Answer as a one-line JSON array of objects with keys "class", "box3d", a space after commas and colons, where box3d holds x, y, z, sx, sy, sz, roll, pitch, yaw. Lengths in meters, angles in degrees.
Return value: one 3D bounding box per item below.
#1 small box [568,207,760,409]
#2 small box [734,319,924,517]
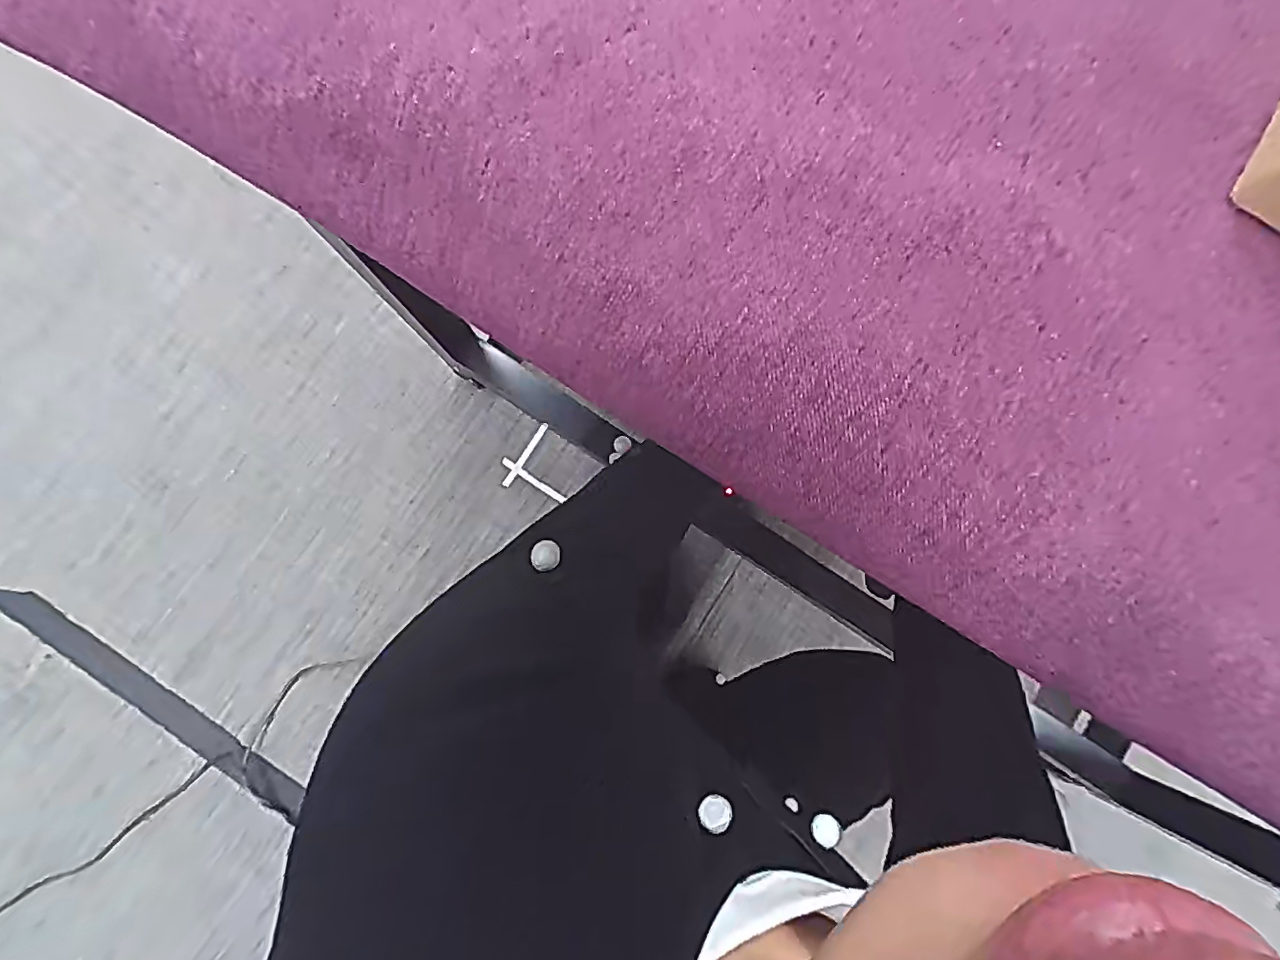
[{"class": "small box", "box3d": [0.027, -0.210, 0.717, 0.179, 0.176, 0.168, 31, 84, 1]}, {"class": "small box", "box3d": [0.254, -0.079, 0.742, 0.179, 0.176, 0.168, 32, 49, 0]}]
